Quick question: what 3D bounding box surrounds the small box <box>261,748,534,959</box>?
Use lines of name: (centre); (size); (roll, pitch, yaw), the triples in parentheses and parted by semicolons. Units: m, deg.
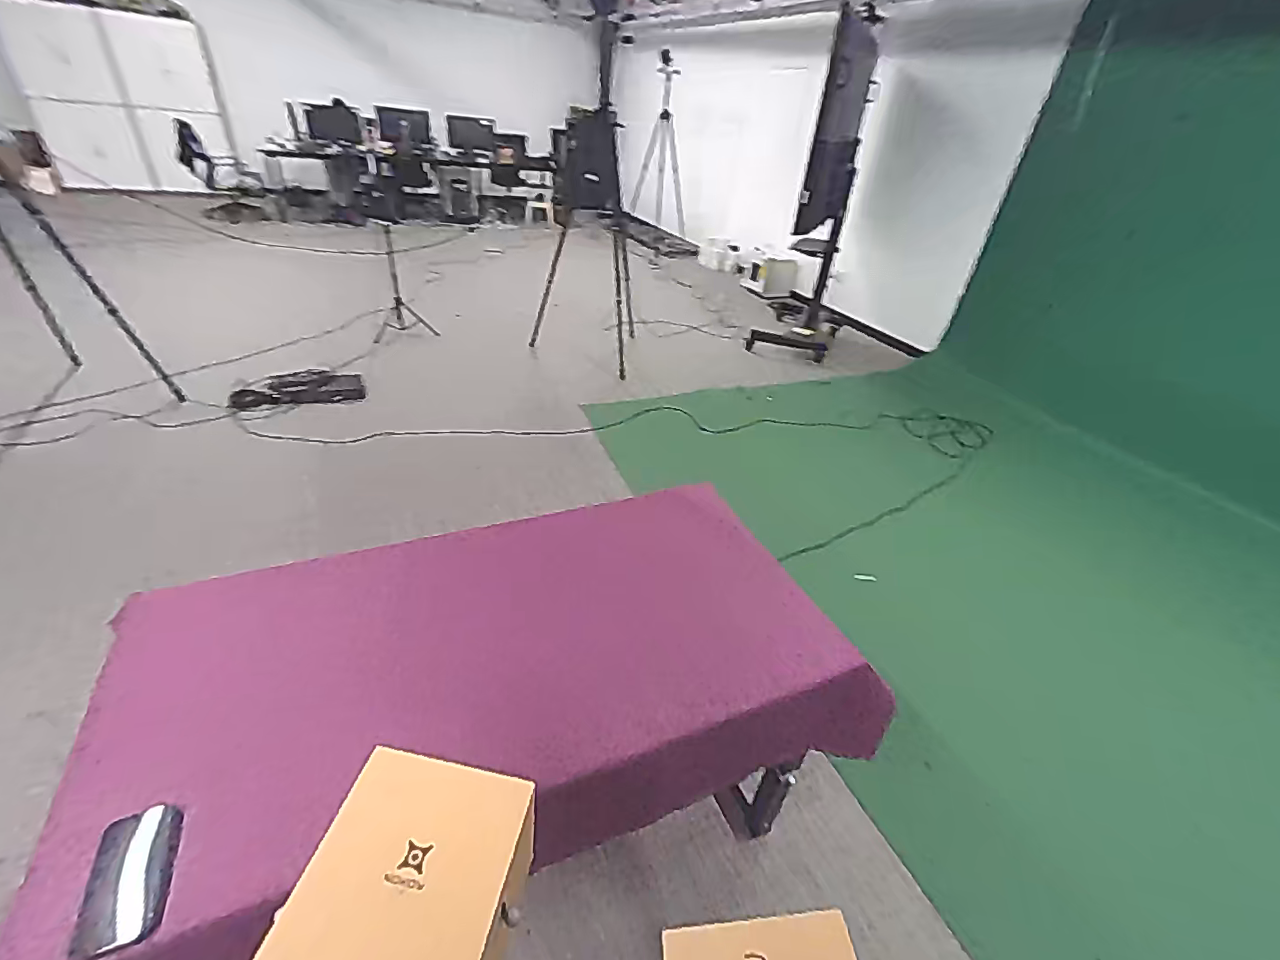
small box: (-0.210, 0.399, 0.519); (0.168, 0.176, 0.179); (12, 36, 3)
